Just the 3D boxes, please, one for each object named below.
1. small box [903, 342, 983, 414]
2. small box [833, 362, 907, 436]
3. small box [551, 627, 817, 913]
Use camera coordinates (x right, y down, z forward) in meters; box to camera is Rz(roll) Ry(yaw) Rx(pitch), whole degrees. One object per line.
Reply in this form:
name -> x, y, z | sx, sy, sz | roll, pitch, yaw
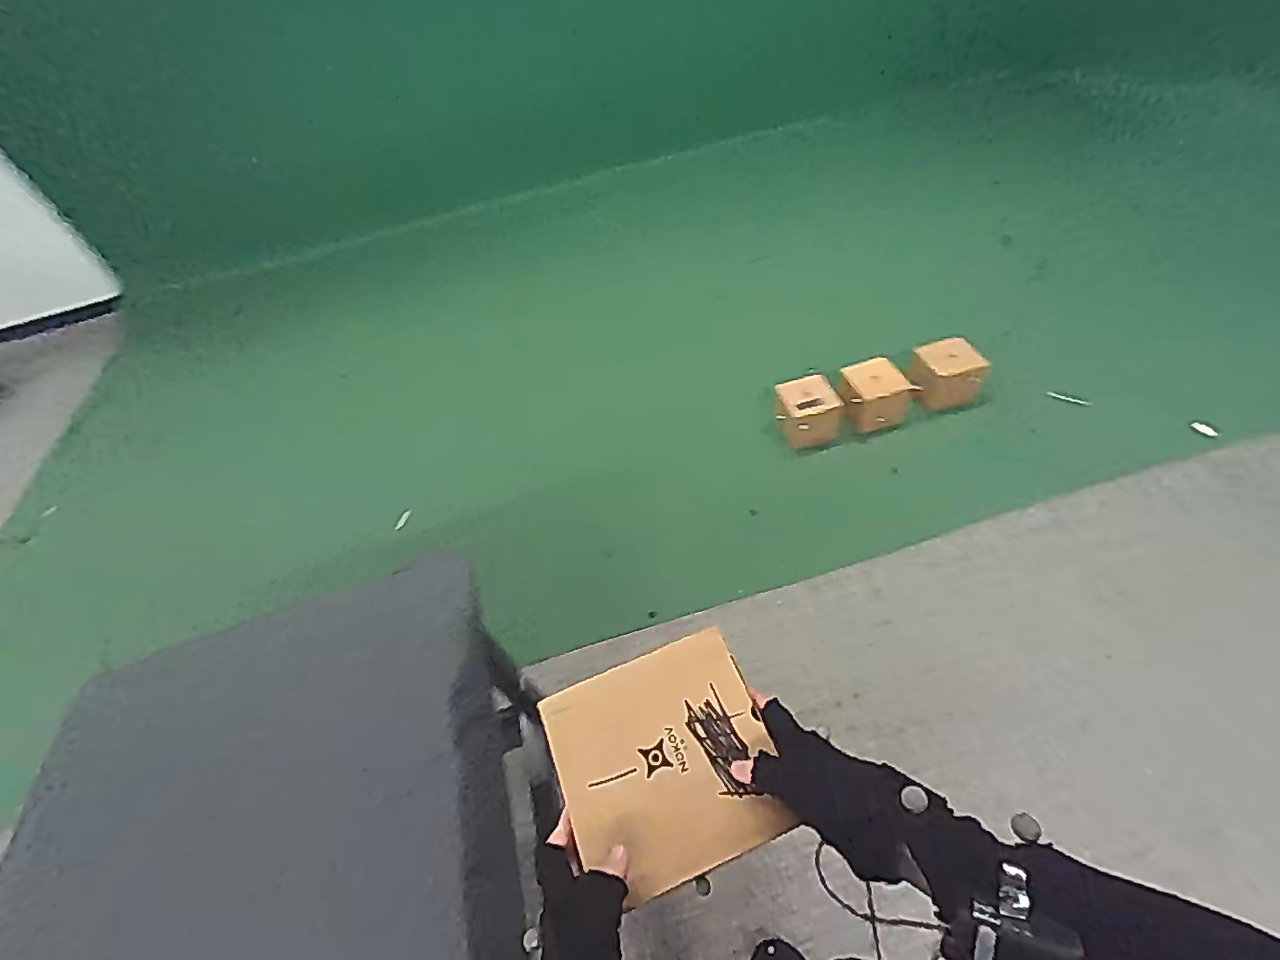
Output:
small box -> 1.073, -0.362, 1.938 | 0.179, 0.176, 0.168 | -15, 50, -3
small box -> 0.808, -0.288, 1.926 | 0.168, 0.176, 0.179 | -17, 51, -4
small box -> 0.034, 0.266, 0.506 | 0.179, 0.176, 0.168 | -19, 55, -8
